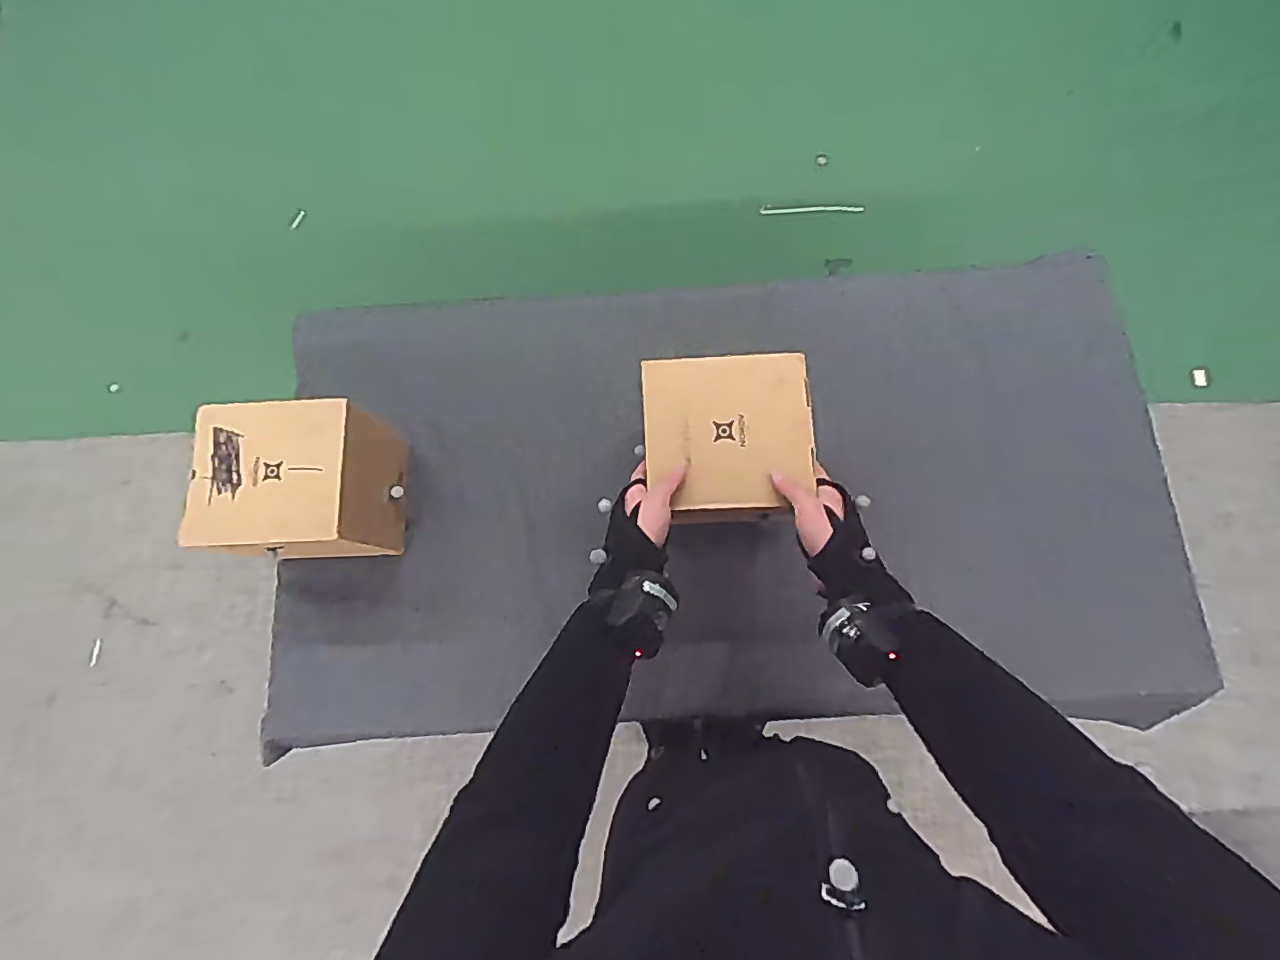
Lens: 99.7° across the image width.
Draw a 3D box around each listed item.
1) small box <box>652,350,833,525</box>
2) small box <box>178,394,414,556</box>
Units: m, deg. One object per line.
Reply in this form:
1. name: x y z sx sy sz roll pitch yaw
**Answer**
1. small box: 0.106 -0.039 0.632 0.179 0.176 0.168 -4 80 3
2. small box: -0.403 0.004 0.665 0.179 0.176 0.168 -2 78 -1
